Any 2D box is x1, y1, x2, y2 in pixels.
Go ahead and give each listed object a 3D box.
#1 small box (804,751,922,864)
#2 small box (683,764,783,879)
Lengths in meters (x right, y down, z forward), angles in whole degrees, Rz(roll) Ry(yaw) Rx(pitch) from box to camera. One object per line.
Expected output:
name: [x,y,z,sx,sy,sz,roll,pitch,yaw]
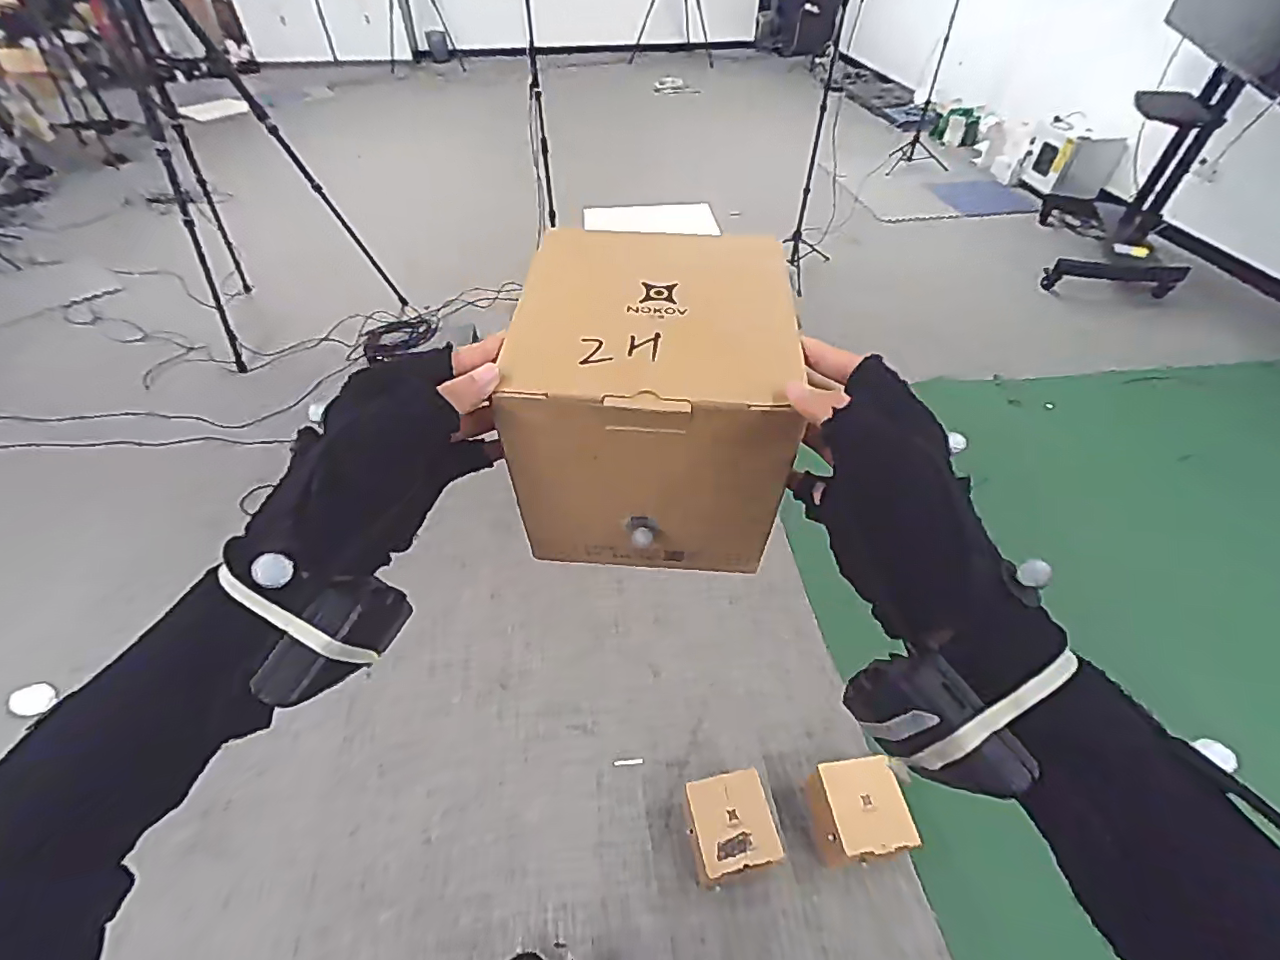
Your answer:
small box: [0.488,0.737,1.217,0.168,0.176,0.179,-6,48,-5]
small box: [0.196,0.757,1.193,0.168,0.176,0.179,-8,47,-8]
